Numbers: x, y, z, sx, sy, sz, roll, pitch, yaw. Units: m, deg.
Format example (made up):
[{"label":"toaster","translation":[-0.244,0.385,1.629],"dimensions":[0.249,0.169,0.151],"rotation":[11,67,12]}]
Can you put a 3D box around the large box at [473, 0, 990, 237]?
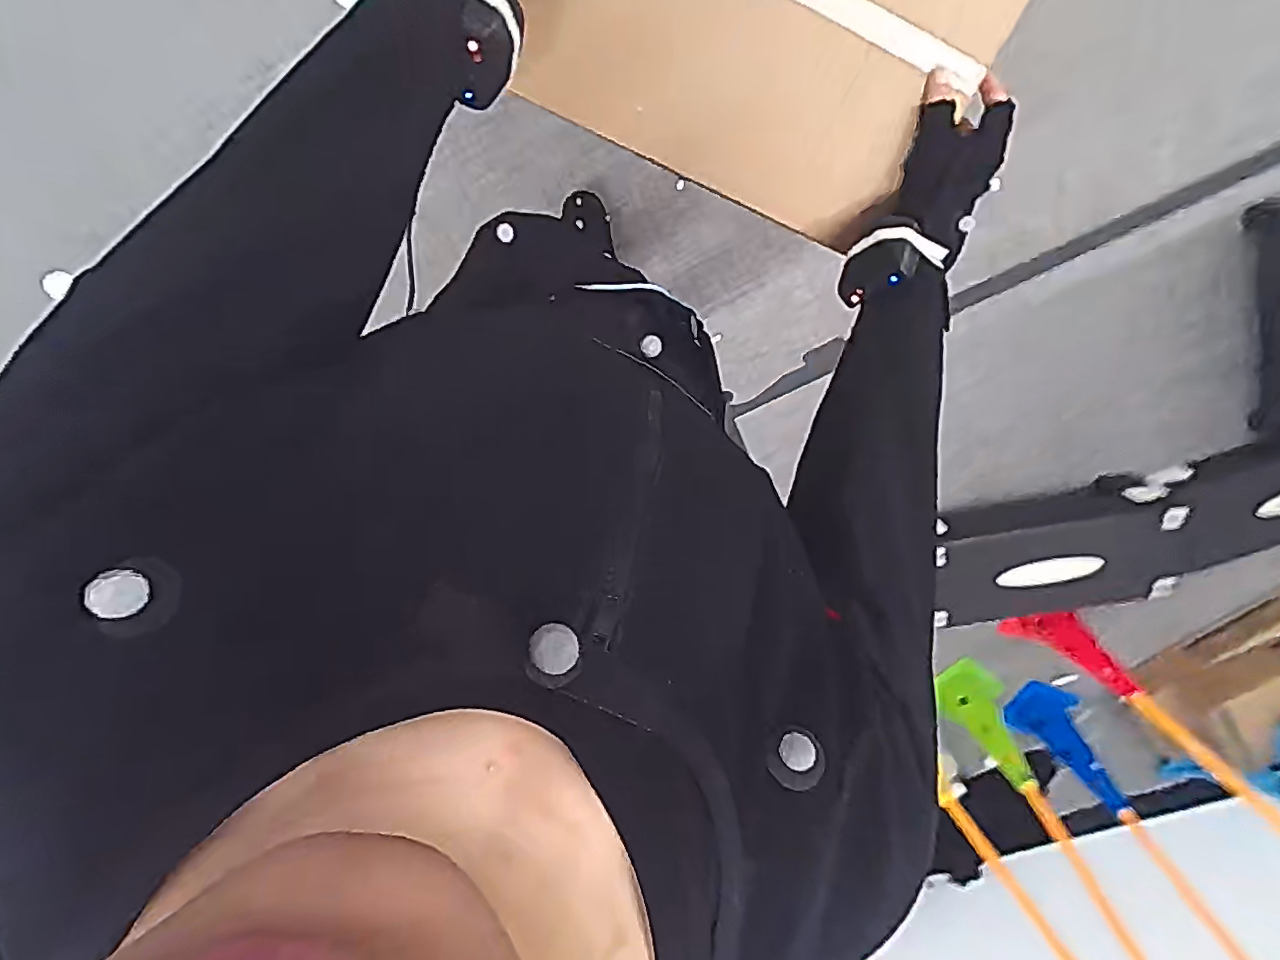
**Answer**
[{"label":"large box","translation":[0.099,-0.499,0.565],"dimensions":[0.408,0.320,0.320],"rotation":[21,119,-7]}]
